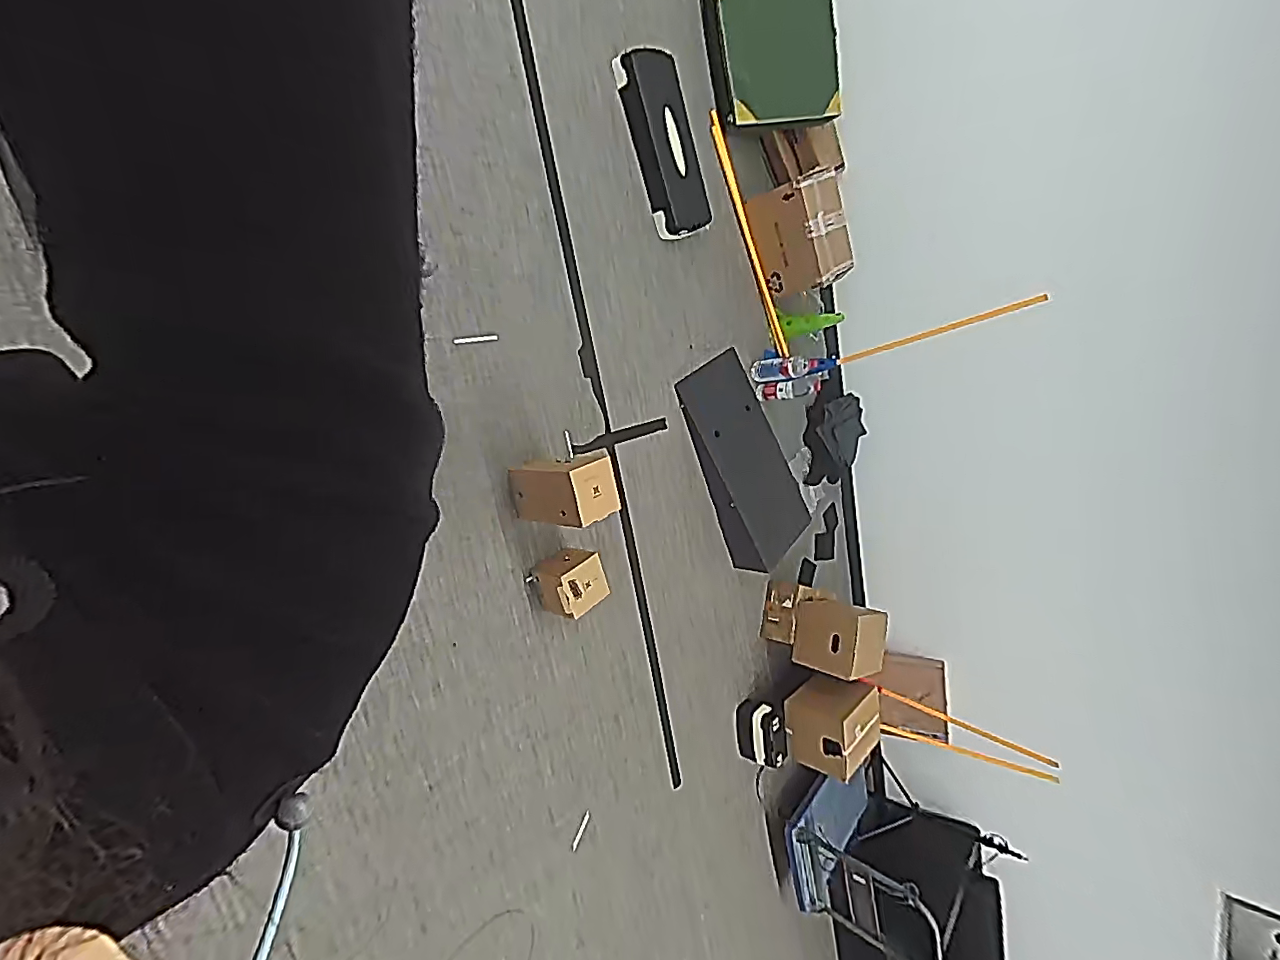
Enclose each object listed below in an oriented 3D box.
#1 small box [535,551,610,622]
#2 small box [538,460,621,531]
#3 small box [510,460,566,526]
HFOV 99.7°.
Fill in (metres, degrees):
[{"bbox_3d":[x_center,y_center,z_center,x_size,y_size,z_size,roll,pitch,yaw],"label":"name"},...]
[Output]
[{"bbox_3d":[-0.237,0.356,1.847,0.179,0.176,0.168,-31,113,-41],"label":"small box"},{"bbox_3d":[-0.186,0.040,1.652,0.168,0.176,0.179,-24,108,-43],"label":"small box"},{"bbox_3d":[-0.301,0.036,1.769,0.168,0.176,0.179,-22,108,-43],"label":"small box"}]
